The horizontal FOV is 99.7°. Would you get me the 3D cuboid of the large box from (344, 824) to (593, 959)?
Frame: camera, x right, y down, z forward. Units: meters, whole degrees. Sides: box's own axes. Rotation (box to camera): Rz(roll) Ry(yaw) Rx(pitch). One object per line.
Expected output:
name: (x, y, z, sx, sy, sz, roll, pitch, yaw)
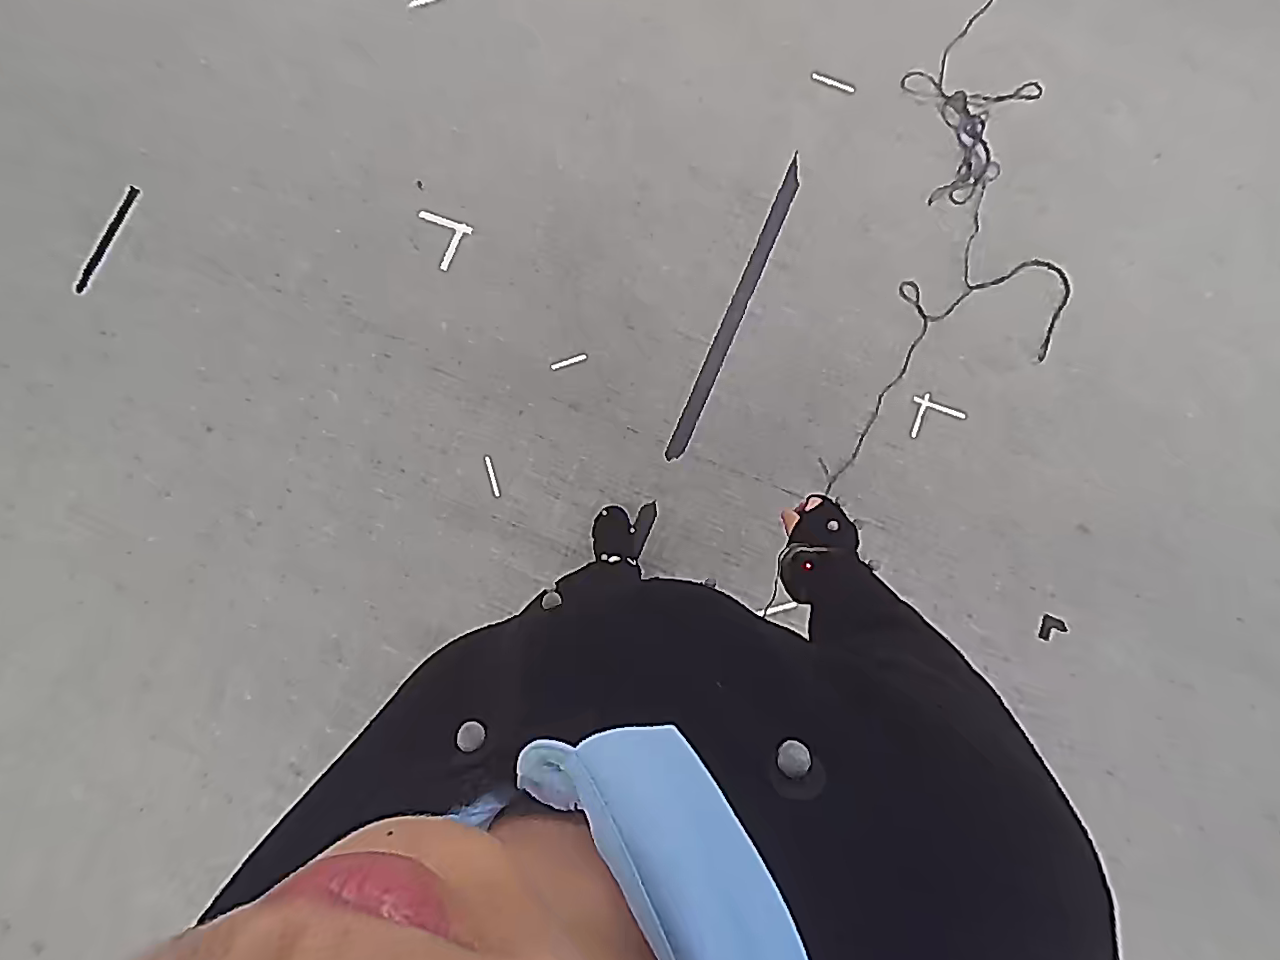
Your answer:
large box: (-0.343, 0.971, 1.056, 0.408, 0.320, 0.320, 23, 81, 5)
